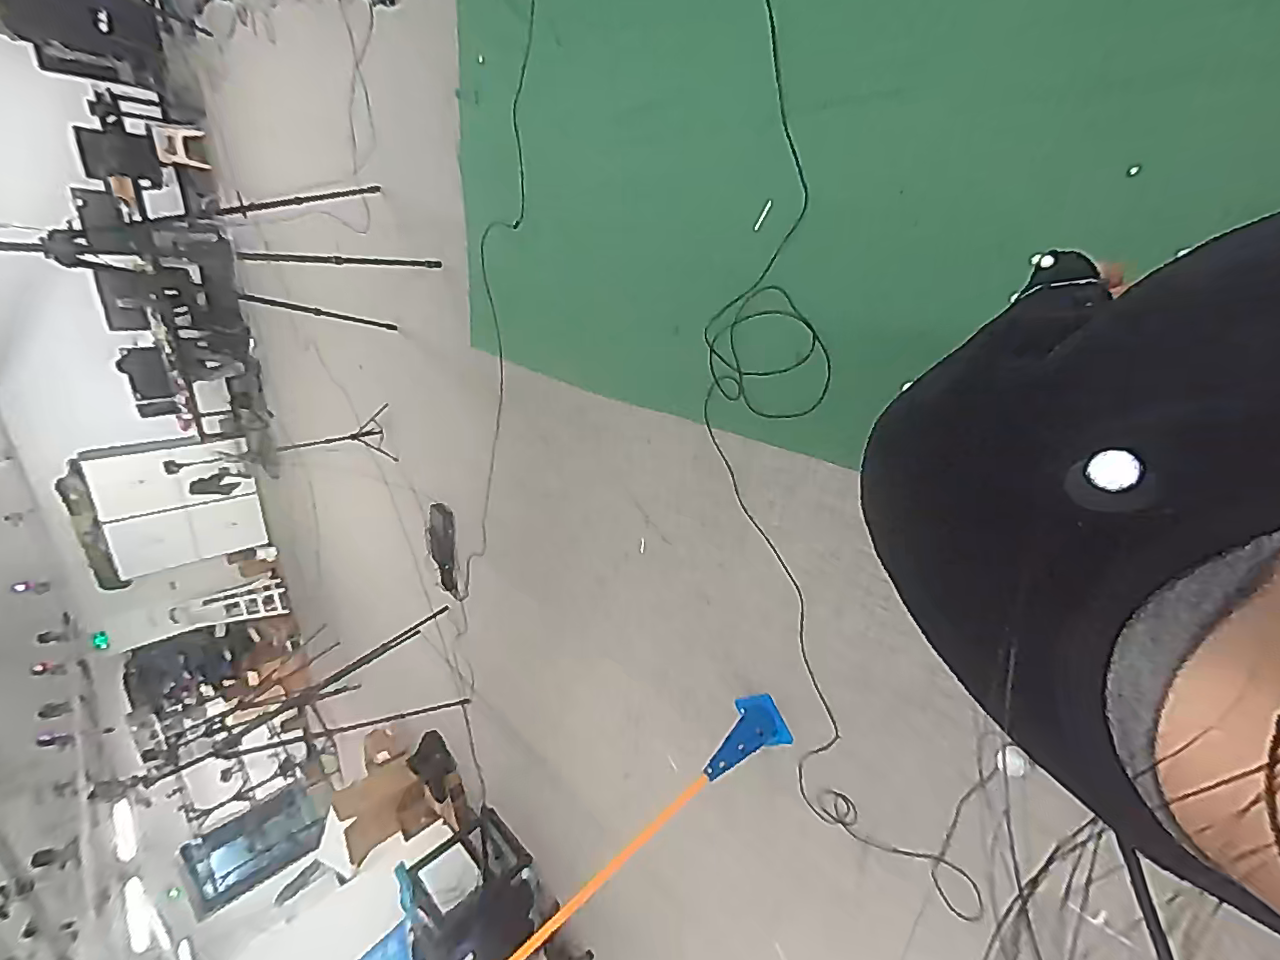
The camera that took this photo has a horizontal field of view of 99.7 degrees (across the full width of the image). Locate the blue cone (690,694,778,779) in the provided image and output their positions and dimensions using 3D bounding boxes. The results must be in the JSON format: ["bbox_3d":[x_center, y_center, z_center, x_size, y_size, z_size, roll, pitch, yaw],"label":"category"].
[{"bbox_3d":[0.318,0.968,1.970,0.193,0.380,0.192,-39,76,47],"label":"blue cone"}]
